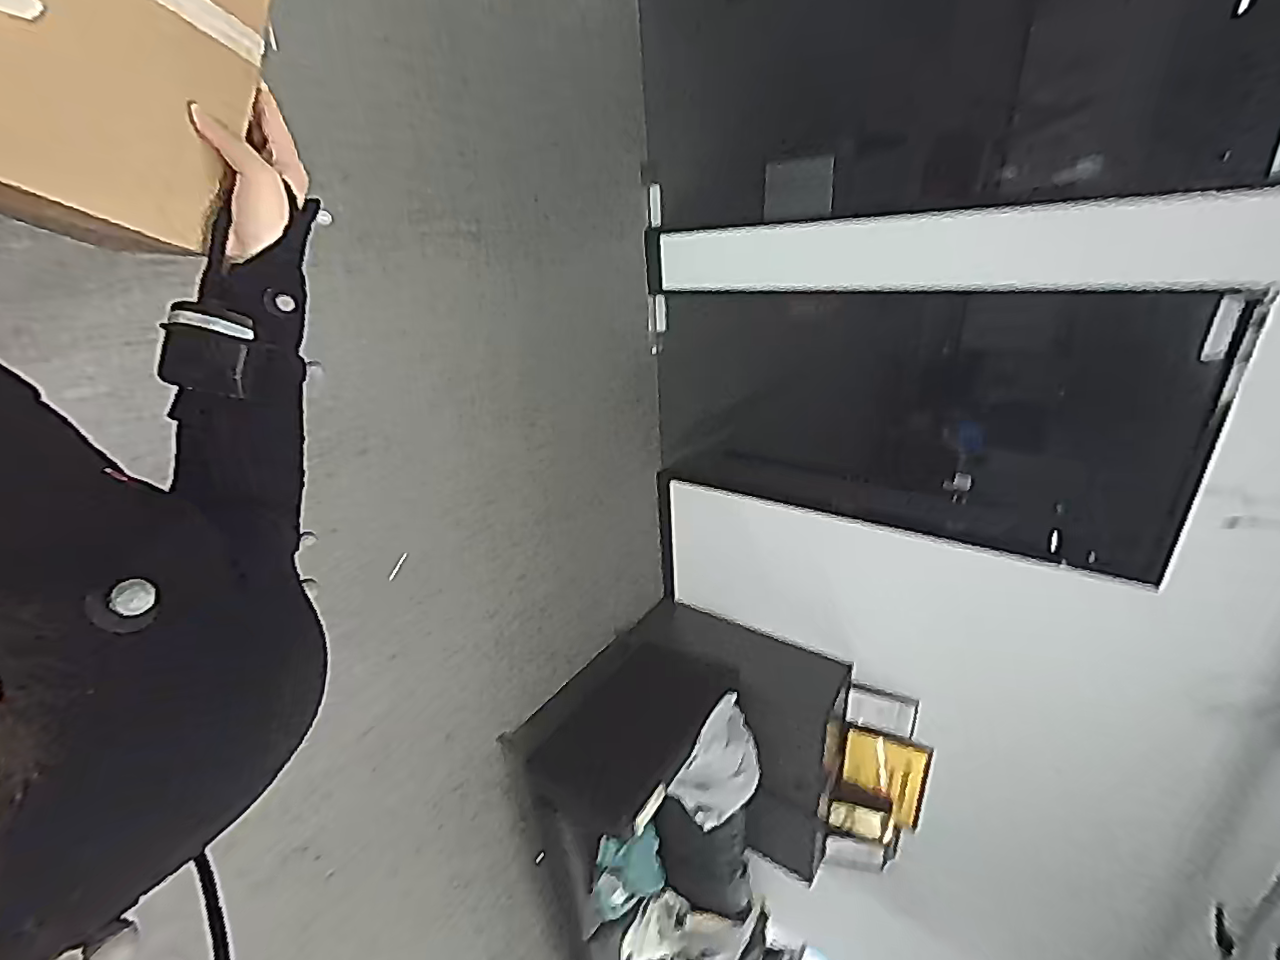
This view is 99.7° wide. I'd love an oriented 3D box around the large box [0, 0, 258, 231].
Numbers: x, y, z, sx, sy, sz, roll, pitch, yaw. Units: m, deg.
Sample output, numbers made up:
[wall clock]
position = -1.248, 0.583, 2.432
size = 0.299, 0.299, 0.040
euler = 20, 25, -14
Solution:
[large box]
position = -0.522, -0.388, 0.324
size = 0.408, 0.320, 0.320
euler = 8, 99, -57
